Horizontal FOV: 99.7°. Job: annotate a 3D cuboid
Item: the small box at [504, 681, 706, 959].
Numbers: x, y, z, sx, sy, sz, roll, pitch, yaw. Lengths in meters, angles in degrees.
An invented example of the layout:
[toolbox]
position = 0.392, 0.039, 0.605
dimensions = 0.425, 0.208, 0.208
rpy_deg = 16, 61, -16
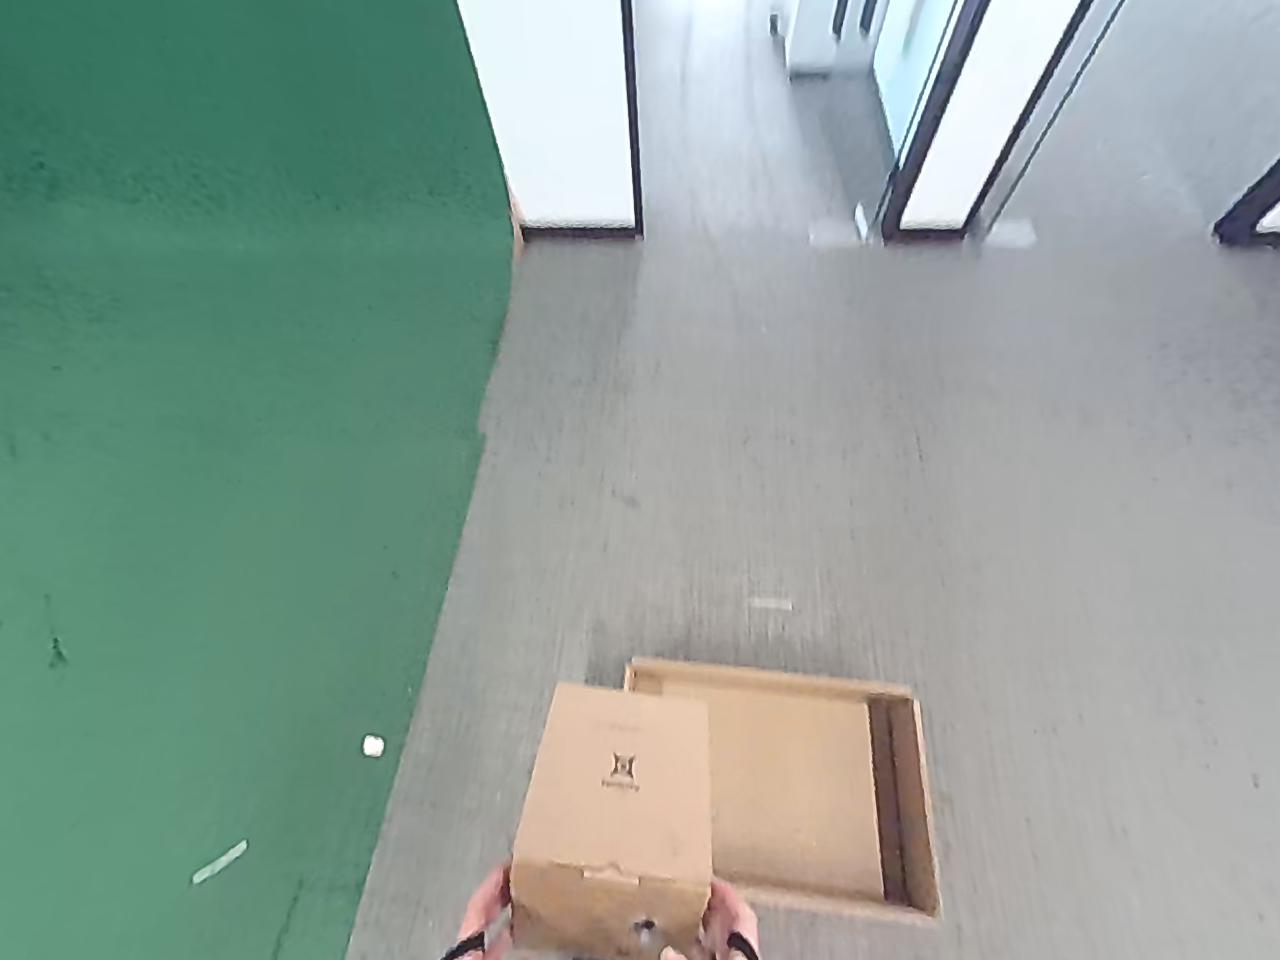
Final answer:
[small box]
position = -0.026, 0.337, 0.540
dimensions = 0.168, 0.176, 0.179
rpy_deg = 7, 29, 2
